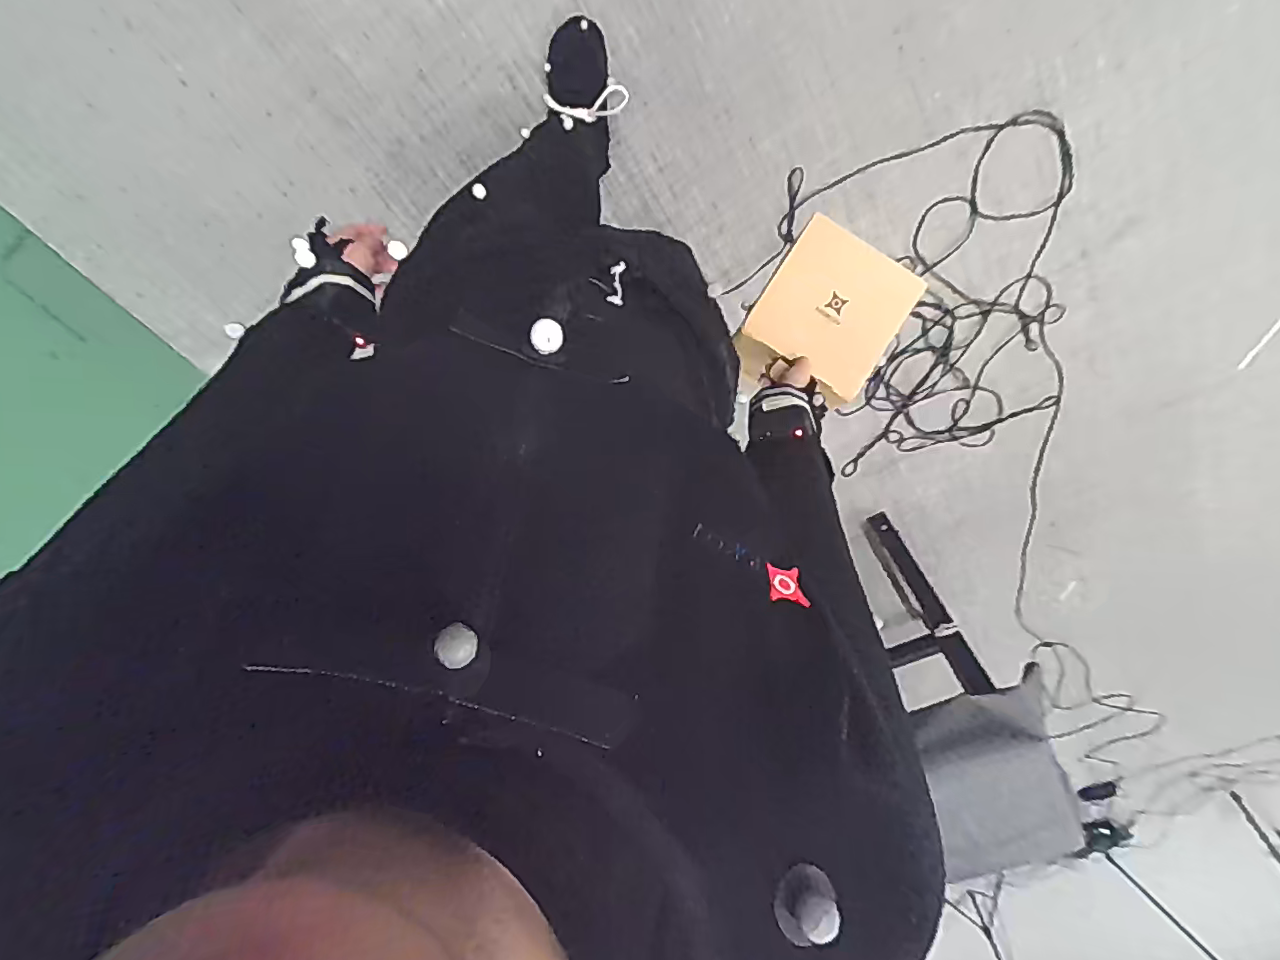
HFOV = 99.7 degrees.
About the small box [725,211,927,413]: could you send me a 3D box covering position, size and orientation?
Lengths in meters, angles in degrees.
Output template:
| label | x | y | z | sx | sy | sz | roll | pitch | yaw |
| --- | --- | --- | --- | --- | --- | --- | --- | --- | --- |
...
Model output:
| label | x | y | z | sx | sy | sz | roll | pitch | yaw |
| --- | --- | --- | --- | --- | --- | --- | --- | --- | --- |
| small box | 0.233 | -0.210 | 0.730 | 0.168 | 0.176 | 0.179 | 33 | 90 | -1 |
